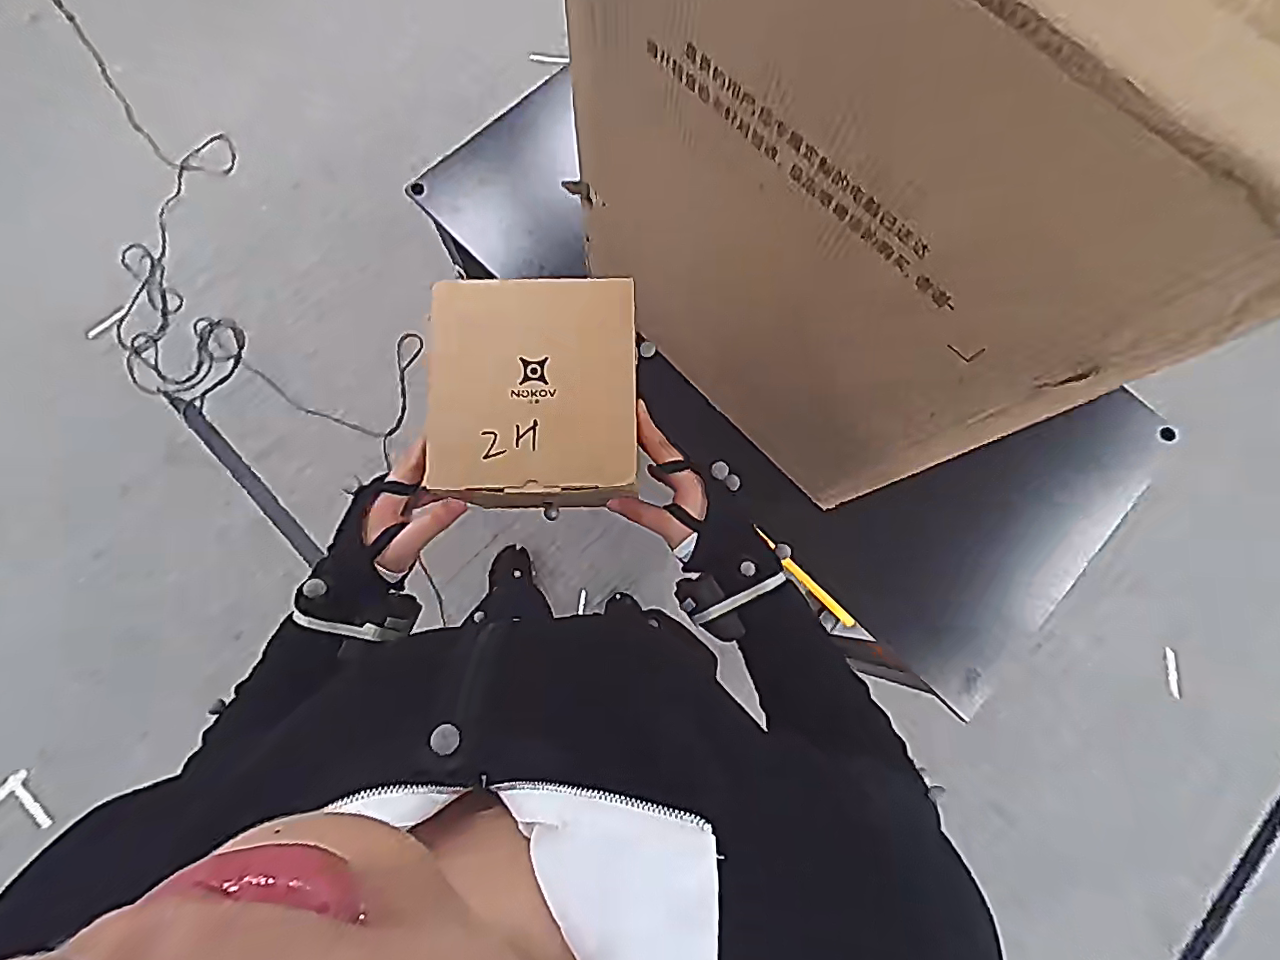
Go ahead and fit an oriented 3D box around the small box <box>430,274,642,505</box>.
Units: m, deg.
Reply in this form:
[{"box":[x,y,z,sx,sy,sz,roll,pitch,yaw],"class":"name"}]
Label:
[{"box":[-0.082,-0.071,0.509,0.168,0.176,0.179,-1,83,0],"class":"small box"}]
